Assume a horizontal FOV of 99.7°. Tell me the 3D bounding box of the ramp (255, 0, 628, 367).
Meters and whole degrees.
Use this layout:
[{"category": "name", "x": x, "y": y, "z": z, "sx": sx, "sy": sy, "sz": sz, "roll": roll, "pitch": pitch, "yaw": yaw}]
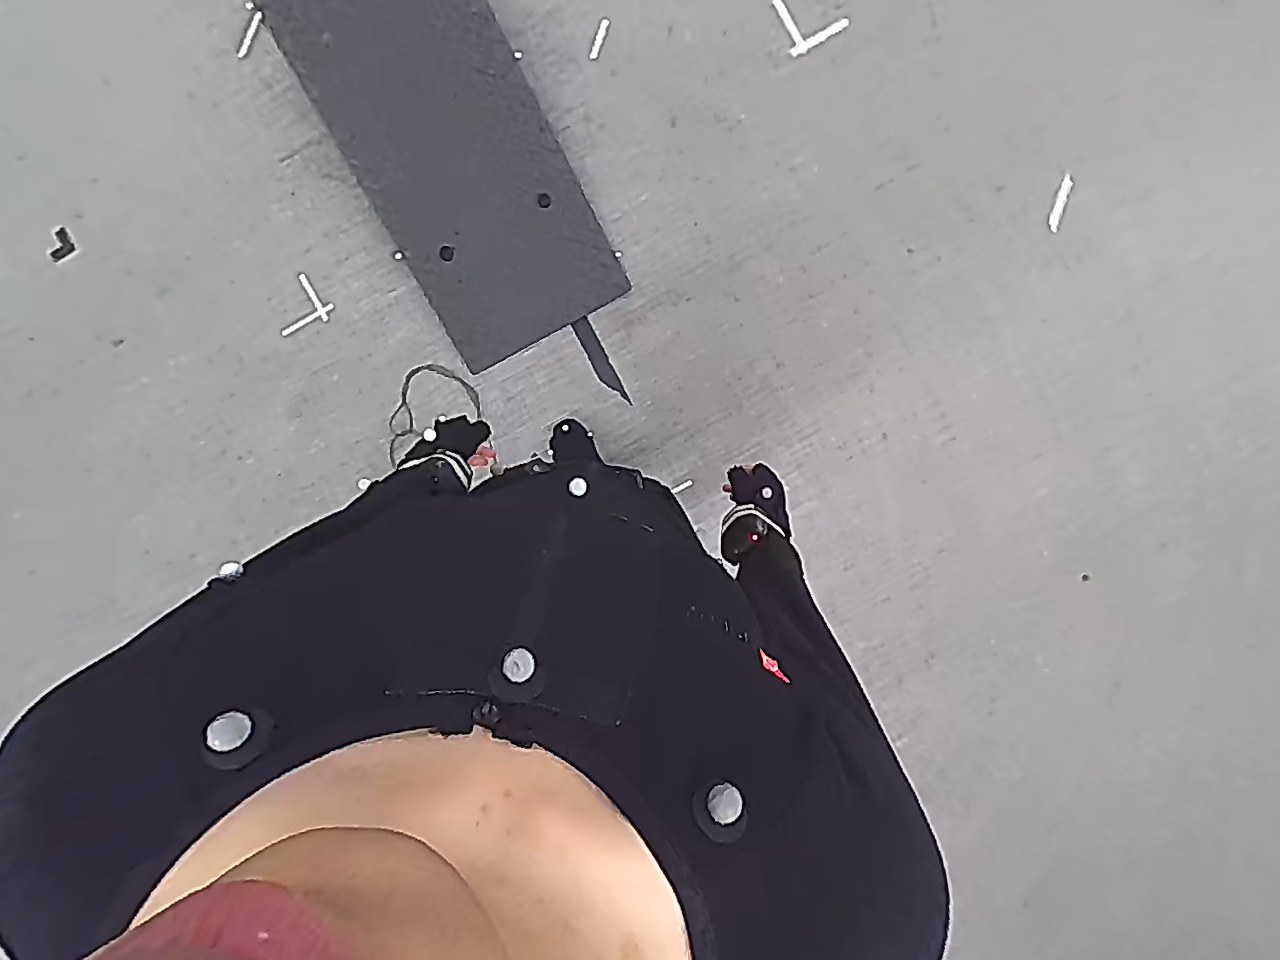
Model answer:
[{"category": "ramp", "x": -0.464, "y": -0.838, "z": 1.343, "sx": 0.509, "sy": 0.206, "sz": 0.991, "roll": -30, "pitch": 93, "yaw": -1}]
